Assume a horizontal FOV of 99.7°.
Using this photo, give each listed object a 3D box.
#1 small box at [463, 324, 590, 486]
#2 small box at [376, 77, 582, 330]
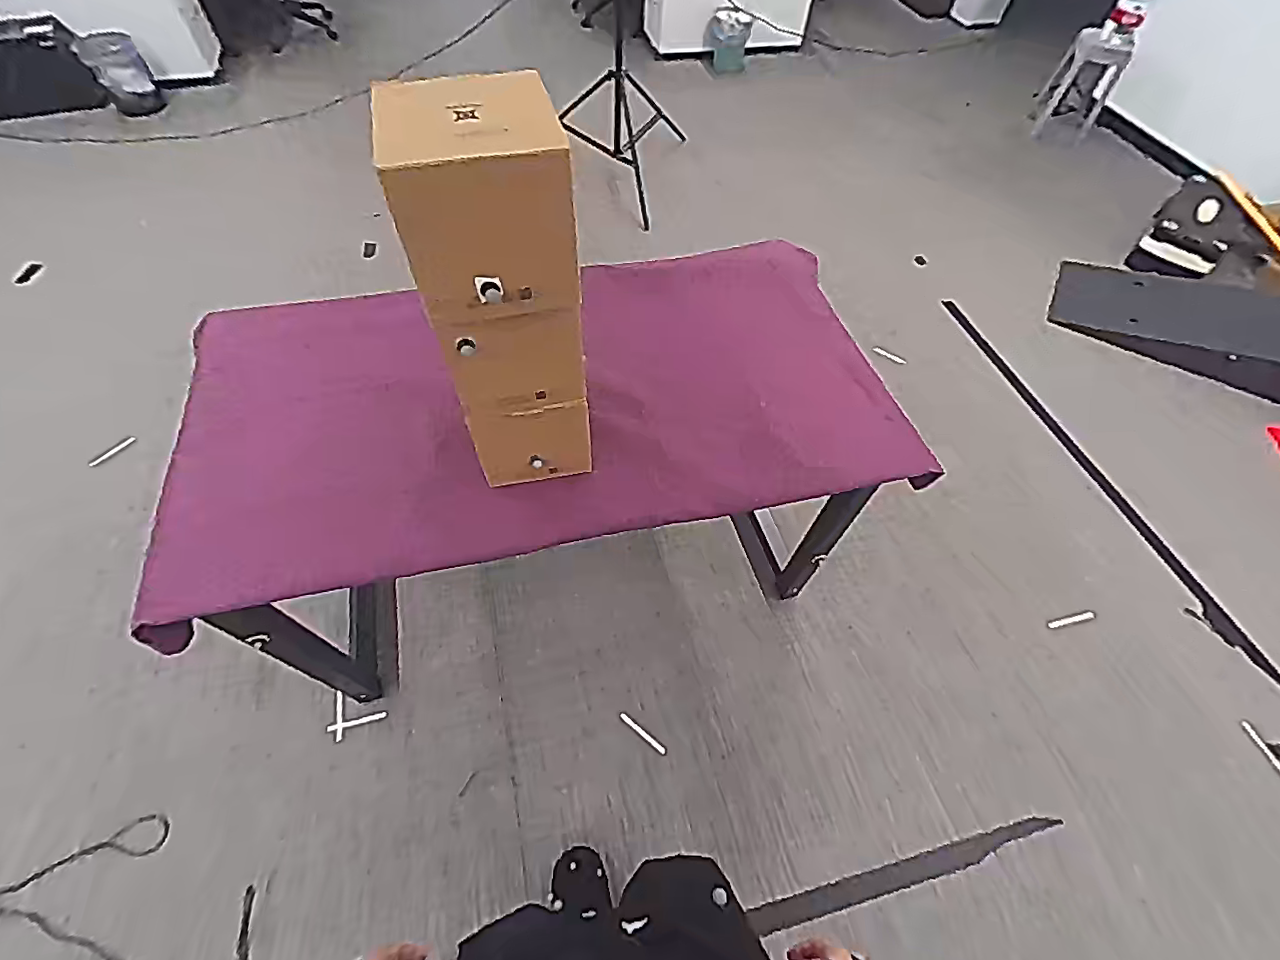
[{"bbox_3d":[-0.174,-0.115,0.847,0.168,0.176,0.179,-10,57,-8],"label":"small box"},{"bbox_3d":[-0.162,-0.288,0.570,0.168,0.176,0.179,-14,58,-11],"label":"small box"}]
